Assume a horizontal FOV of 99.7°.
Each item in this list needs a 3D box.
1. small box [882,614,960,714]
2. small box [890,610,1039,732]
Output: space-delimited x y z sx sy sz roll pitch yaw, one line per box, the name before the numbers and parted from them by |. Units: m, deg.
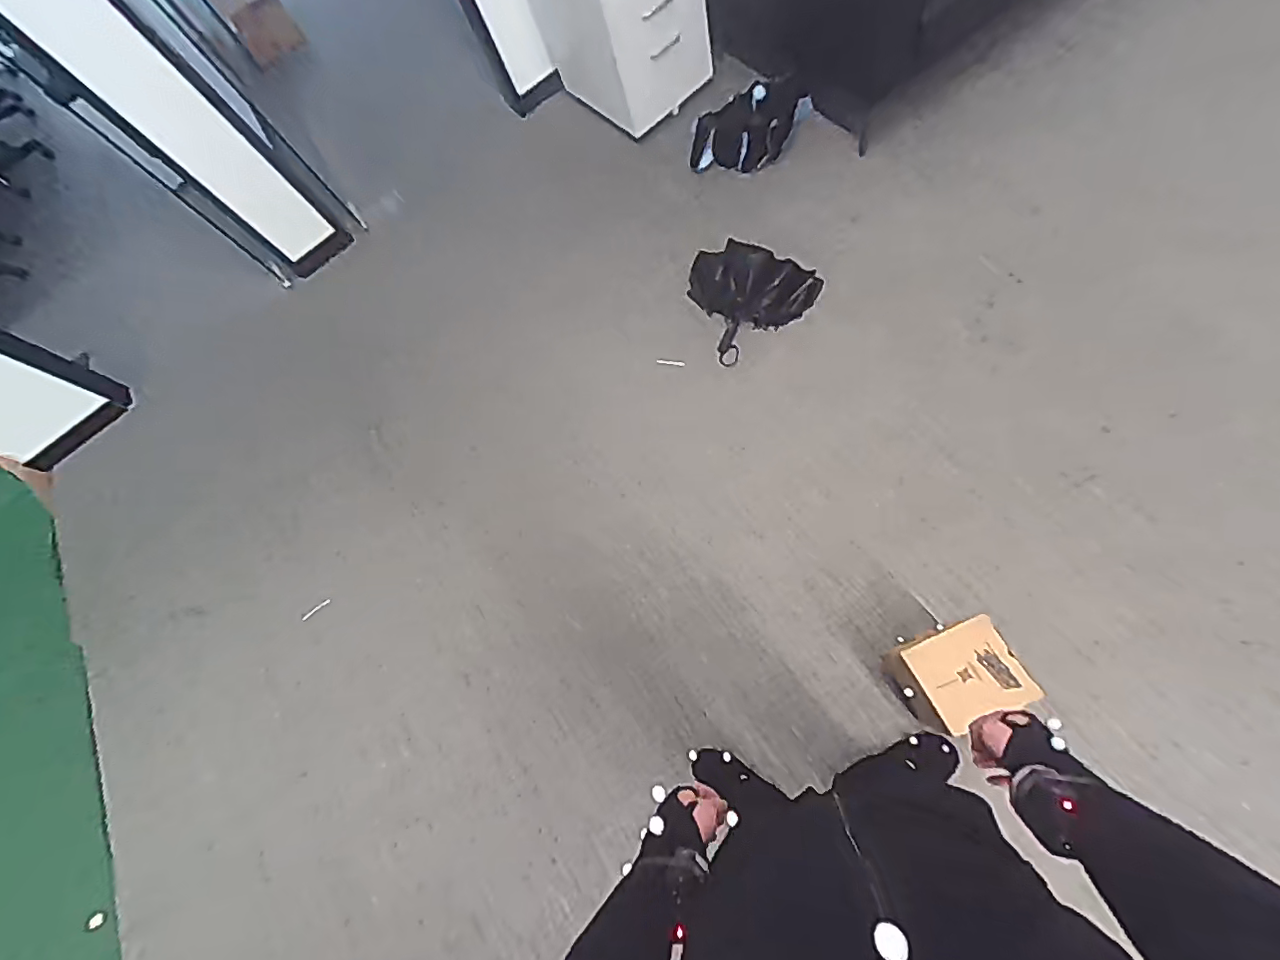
small box | 0.675 0.424 1.222 0.168 0.176 0.179 -28 67 5
small box | 0.626 0.376 1.072 0.179 0.176 0.168 -28 65 6
